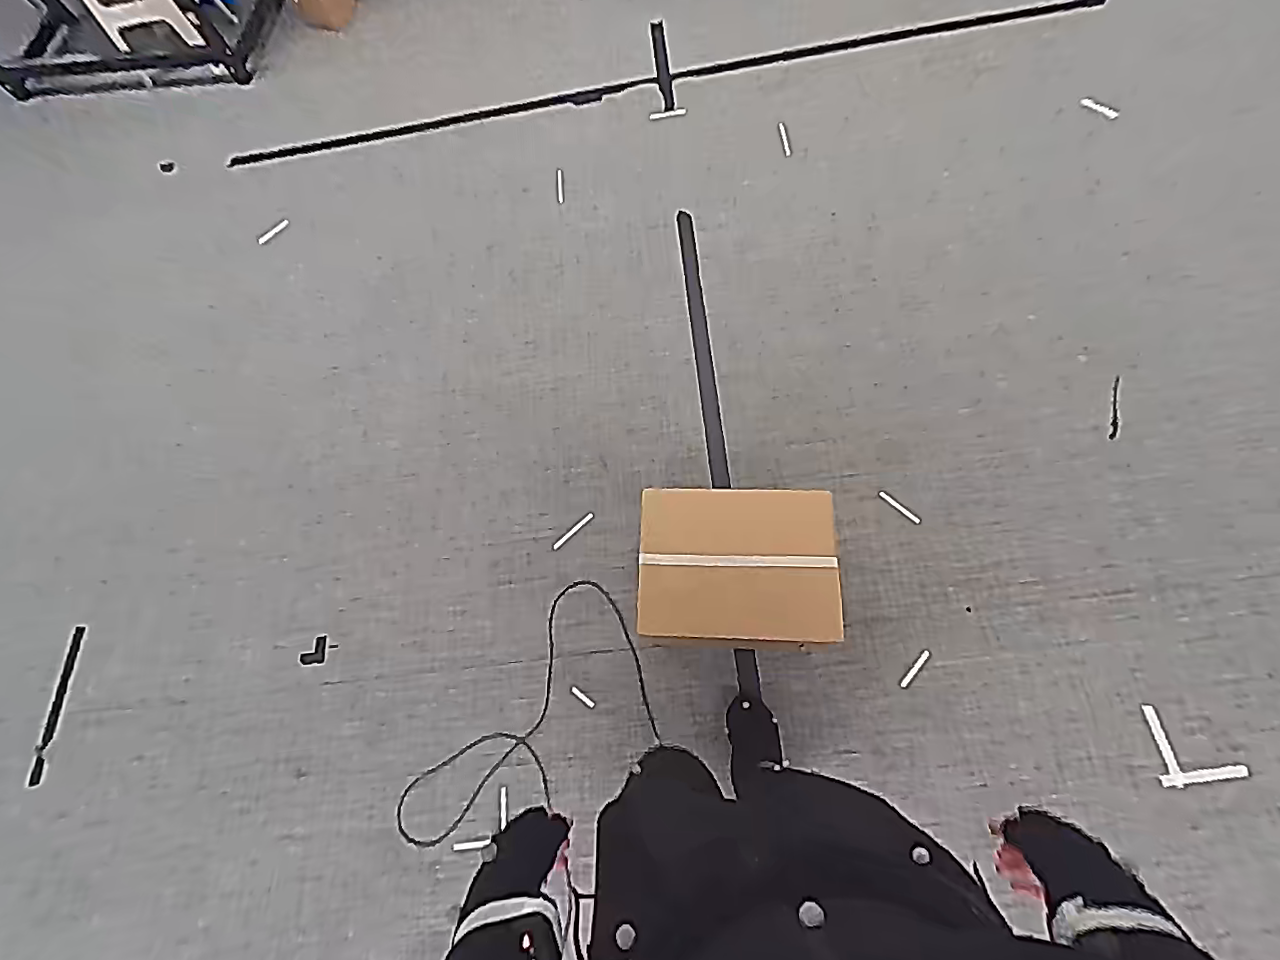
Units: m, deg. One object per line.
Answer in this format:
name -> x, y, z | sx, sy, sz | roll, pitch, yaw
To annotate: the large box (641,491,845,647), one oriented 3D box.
large box -> 0.219, 0.220, 1.248 | 0.408, 0.320, 0.320 | 0, 70, 6
